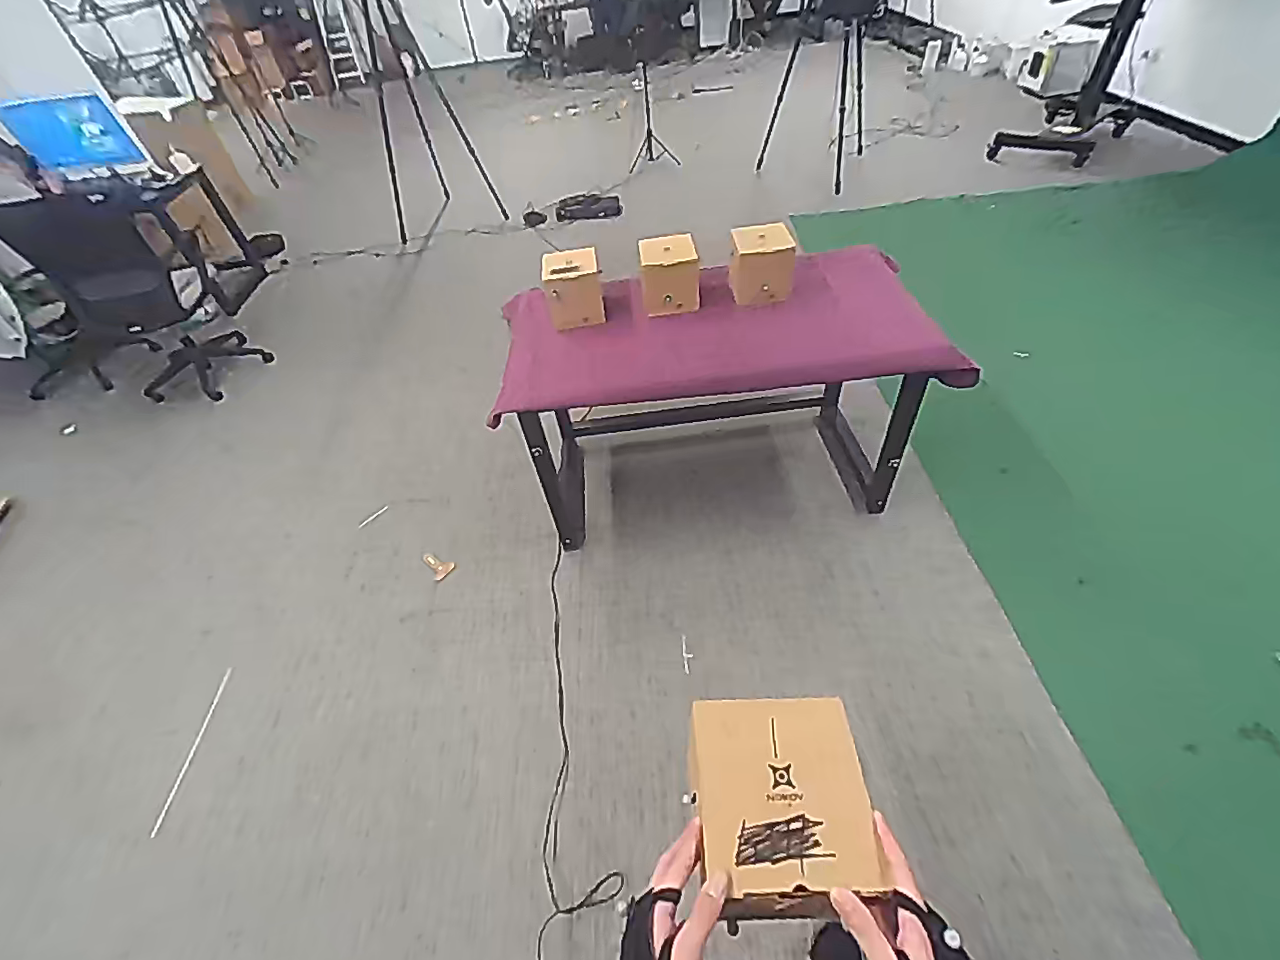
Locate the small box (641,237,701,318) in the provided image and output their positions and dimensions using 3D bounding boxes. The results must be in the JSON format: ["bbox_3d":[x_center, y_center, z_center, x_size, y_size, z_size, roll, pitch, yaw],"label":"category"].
[{"bbox_3d":[0.096,-0.630,1.687,0.168,0.176,0.179,-8,48,2],"label":"small box"}]

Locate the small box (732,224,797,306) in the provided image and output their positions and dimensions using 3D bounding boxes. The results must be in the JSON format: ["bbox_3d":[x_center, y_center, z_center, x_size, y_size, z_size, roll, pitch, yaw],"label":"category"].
[{"bbox_3d":[0.376,-0.660,1.666,0.168,0.176,0.179,-7,48,4],"label":"small box"}]

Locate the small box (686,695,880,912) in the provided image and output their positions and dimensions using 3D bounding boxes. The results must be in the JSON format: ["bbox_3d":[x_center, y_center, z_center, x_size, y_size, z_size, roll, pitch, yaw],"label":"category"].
[{"bbox_3d":[0.137,0.358,0.594,0.168,0.176,0.179,-2,45,1],"label":"small box"}]
